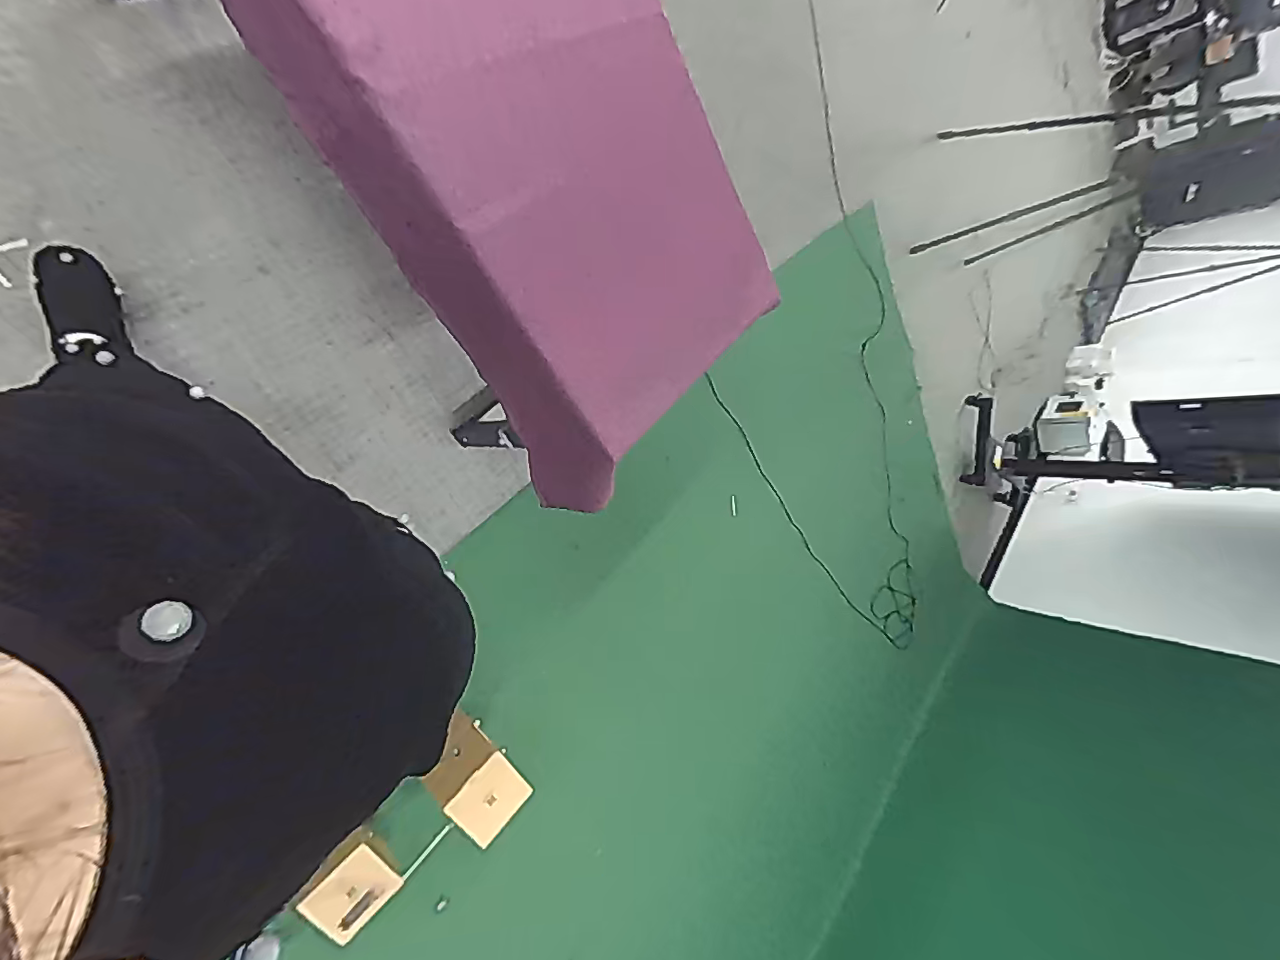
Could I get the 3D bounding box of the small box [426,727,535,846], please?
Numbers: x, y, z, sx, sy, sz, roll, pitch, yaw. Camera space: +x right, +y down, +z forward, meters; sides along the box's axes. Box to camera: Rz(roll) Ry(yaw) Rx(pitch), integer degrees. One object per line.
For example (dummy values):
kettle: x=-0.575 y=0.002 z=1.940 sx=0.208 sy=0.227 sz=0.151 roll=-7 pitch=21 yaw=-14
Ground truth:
small box: x=-0.404 y=0.763 z=1.366 sx=0.168 sy=0.176 sz=0.179 roll=-43 pitch=118 yaw=-29

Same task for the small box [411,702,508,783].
small box: x=-0.506 y=0.755 z=1.493 sx=0.179 sy=0.176 sz=0.168 roll=-44 pitch=119 yaw=-30
